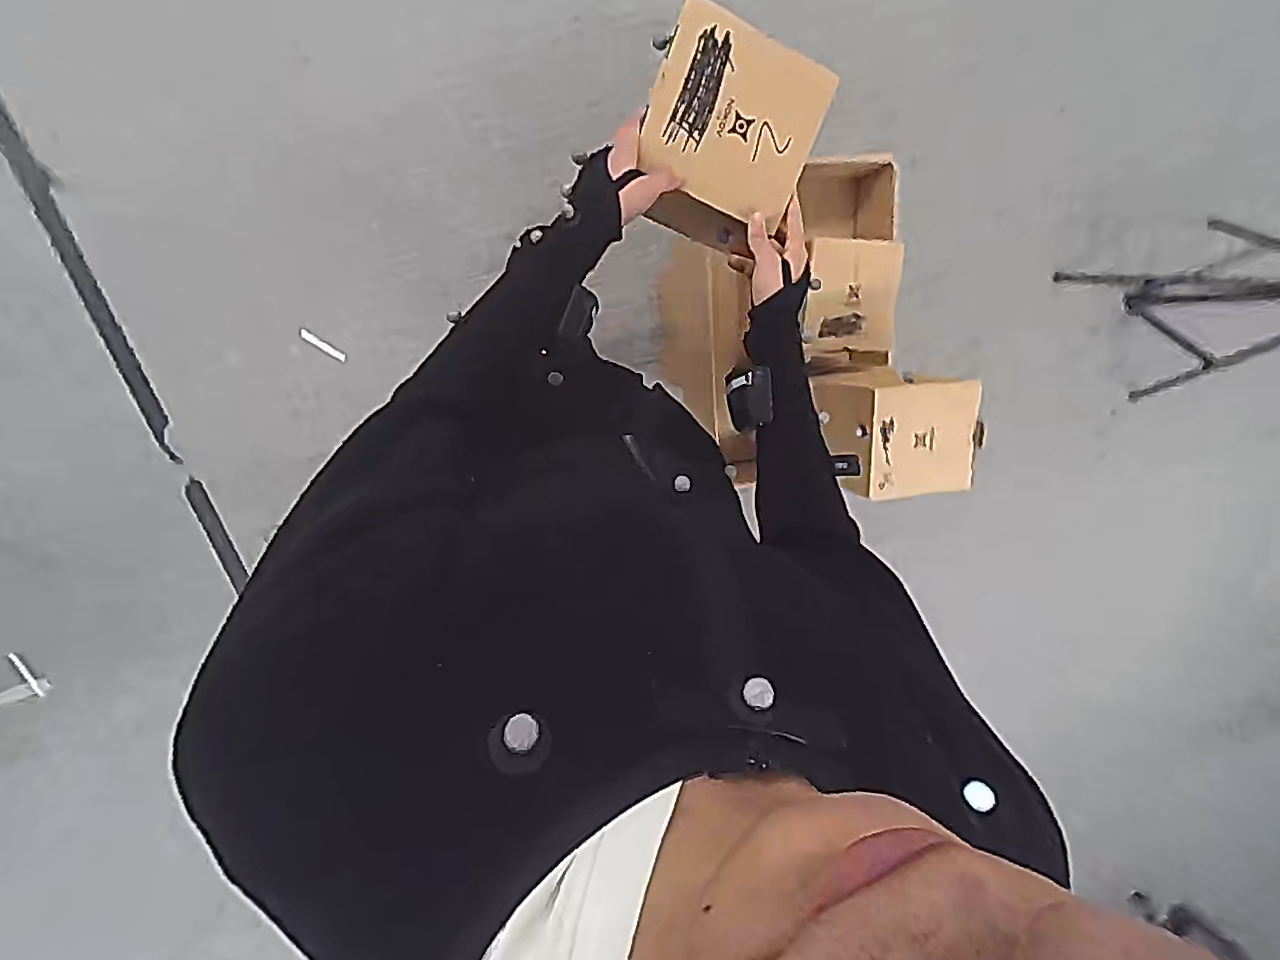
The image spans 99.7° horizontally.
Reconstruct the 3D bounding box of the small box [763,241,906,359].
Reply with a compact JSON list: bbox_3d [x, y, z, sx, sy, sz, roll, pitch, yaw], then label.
[{"bbox_3d":[0.327,-0.309,0.946,0.168,0.176,0.179,-1,106,-12],"label":"small box"}]

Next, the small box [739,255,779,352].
[{"bbox_3d":[0.309,-0.361,1.101,0.168,0.176,0.179,-7,108,-10],"label":"small box"}]

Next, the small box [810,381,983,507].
[{"bbox_3d":[0.392,-0.065,0.851,0.179,0.176,0.168,-5,104,-11],"label":"small box"}]
